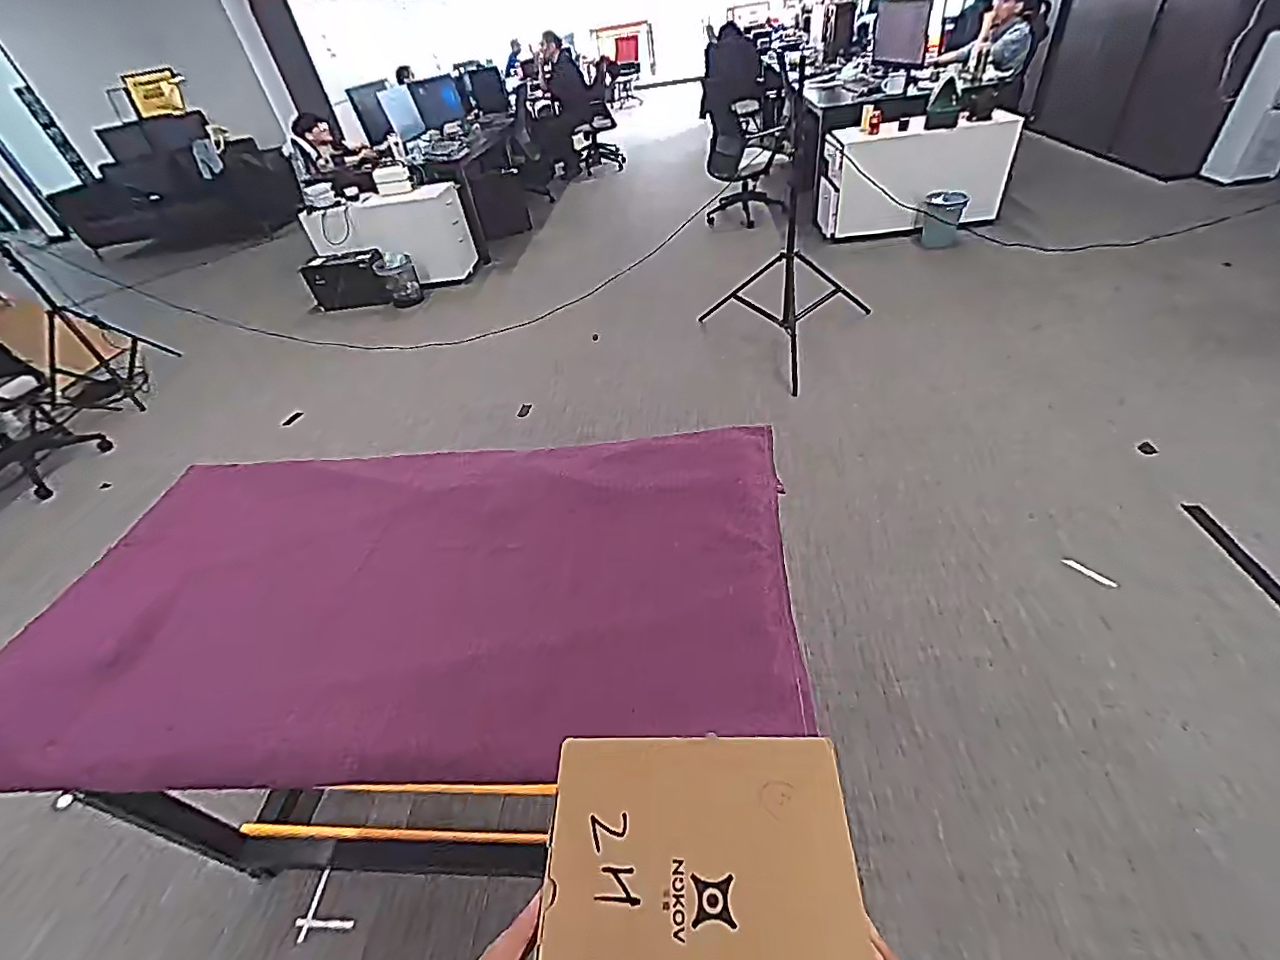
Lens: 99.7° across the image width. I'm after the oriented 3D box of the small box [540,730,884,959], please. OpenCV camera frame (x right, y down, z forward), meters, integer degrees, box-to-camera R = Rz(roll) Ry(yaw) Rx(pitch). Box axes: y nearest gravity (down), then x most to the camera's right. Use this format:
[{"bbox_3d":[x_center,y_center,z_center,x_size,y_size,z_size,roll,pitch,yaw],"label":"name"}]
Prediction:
[{"bbox_3d":[0.045,0.275,0.351,0.179,0.176,0.168,-4,47,7],"label":"small box"}]
